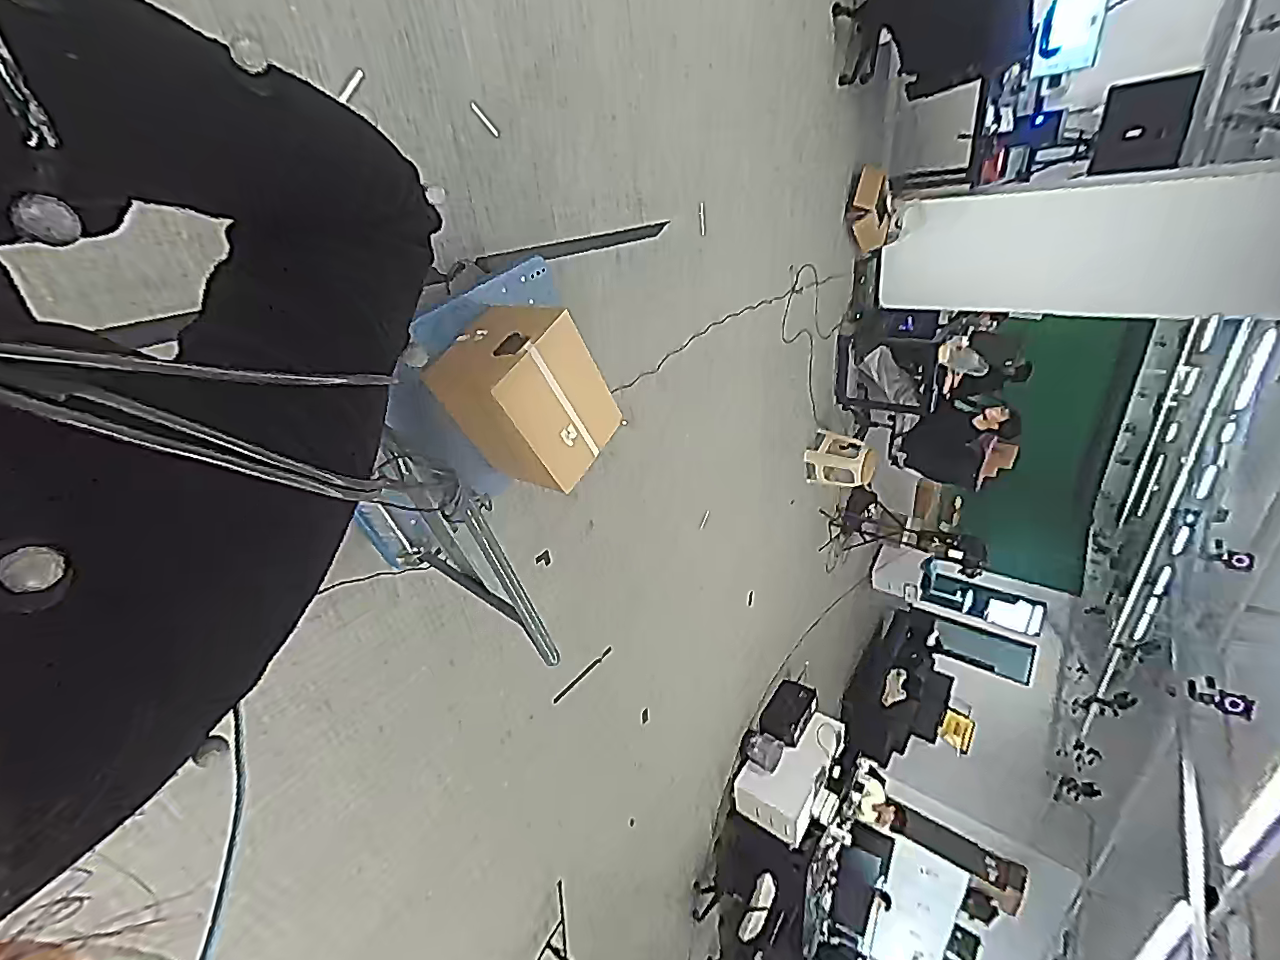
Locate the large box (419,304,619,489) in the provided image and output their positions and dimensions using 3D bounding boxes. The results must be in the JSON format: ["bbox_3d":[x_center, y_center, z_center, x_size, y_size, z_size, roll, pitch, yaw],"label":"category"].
[{"bbox_3d":[-0.325,-0.238,1.526,0.320,0.320,0.408,-55,141,-24],"label":"large box"}]
